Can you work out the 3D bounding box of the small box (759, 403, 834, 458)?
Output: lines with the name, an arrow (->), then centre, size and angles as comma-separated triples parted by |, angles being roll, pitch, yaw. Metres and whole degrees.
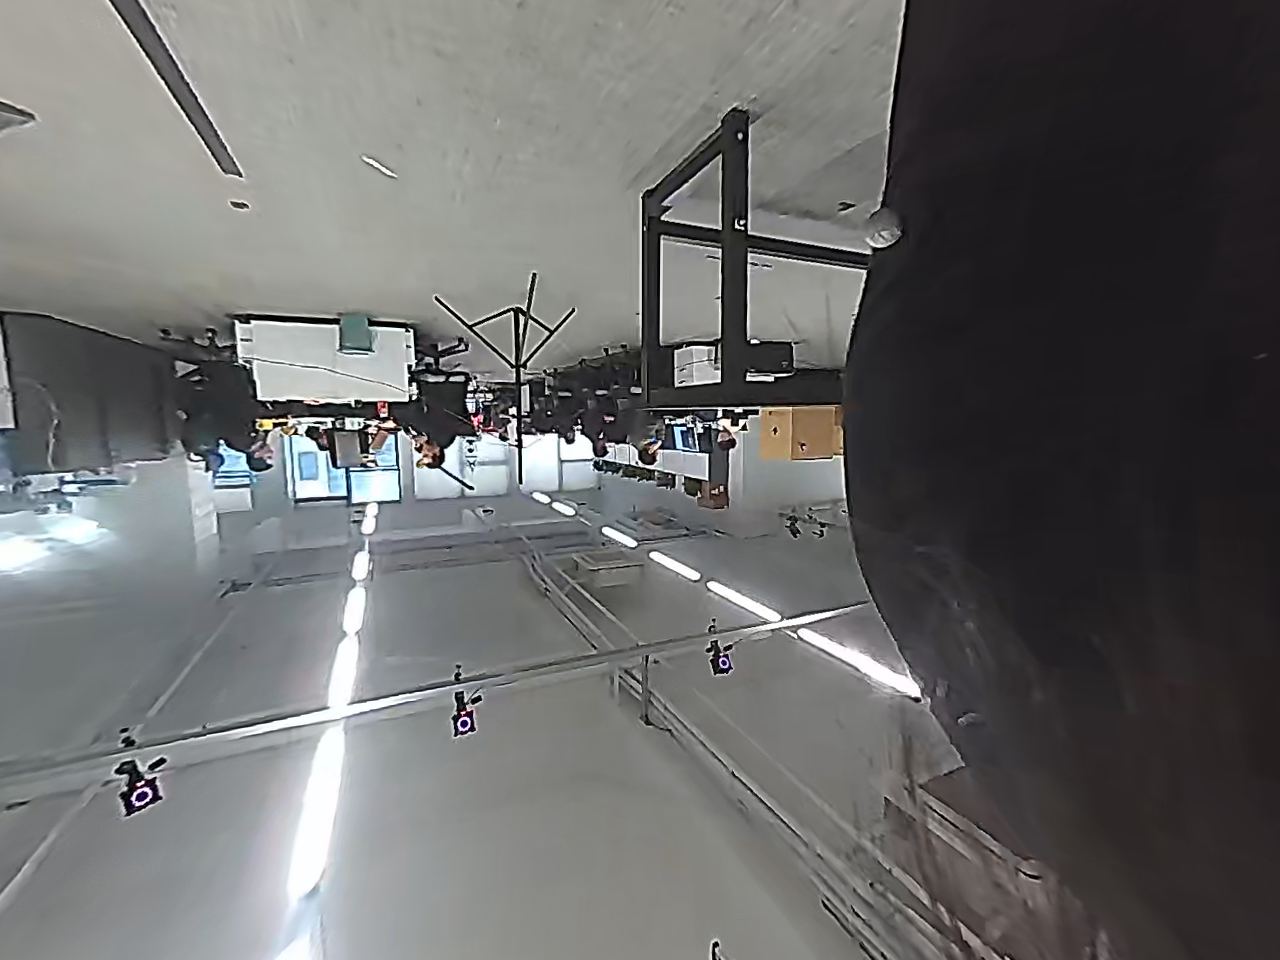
small box -> 0.507, -0.163, 1.756 | 0.179, 0.176, 0.168 | -4, -171, -24
